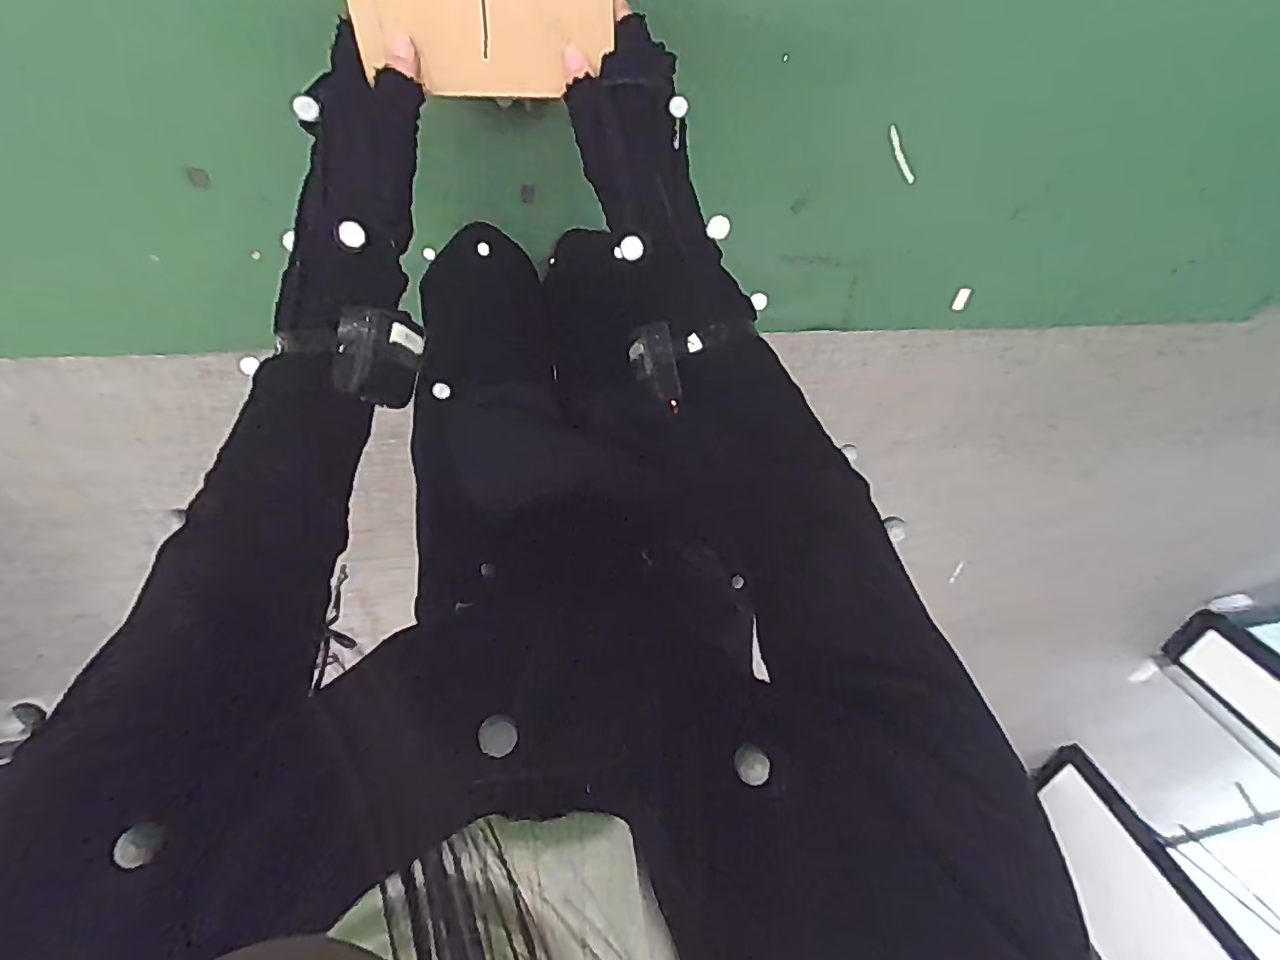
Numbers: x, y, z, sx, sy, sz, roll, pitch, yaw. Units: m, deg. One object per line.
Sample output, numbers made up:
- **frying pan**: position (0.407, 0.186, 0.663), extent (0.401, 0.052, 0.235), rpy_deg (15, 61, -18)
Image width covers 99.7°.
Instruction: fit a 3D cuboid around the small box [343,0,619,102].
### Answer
- **small box**: position (-0.101, -0.368, 0.361), extent (0.168, 0.176, 0.179), rpy_deg (-2, 131, -4)
